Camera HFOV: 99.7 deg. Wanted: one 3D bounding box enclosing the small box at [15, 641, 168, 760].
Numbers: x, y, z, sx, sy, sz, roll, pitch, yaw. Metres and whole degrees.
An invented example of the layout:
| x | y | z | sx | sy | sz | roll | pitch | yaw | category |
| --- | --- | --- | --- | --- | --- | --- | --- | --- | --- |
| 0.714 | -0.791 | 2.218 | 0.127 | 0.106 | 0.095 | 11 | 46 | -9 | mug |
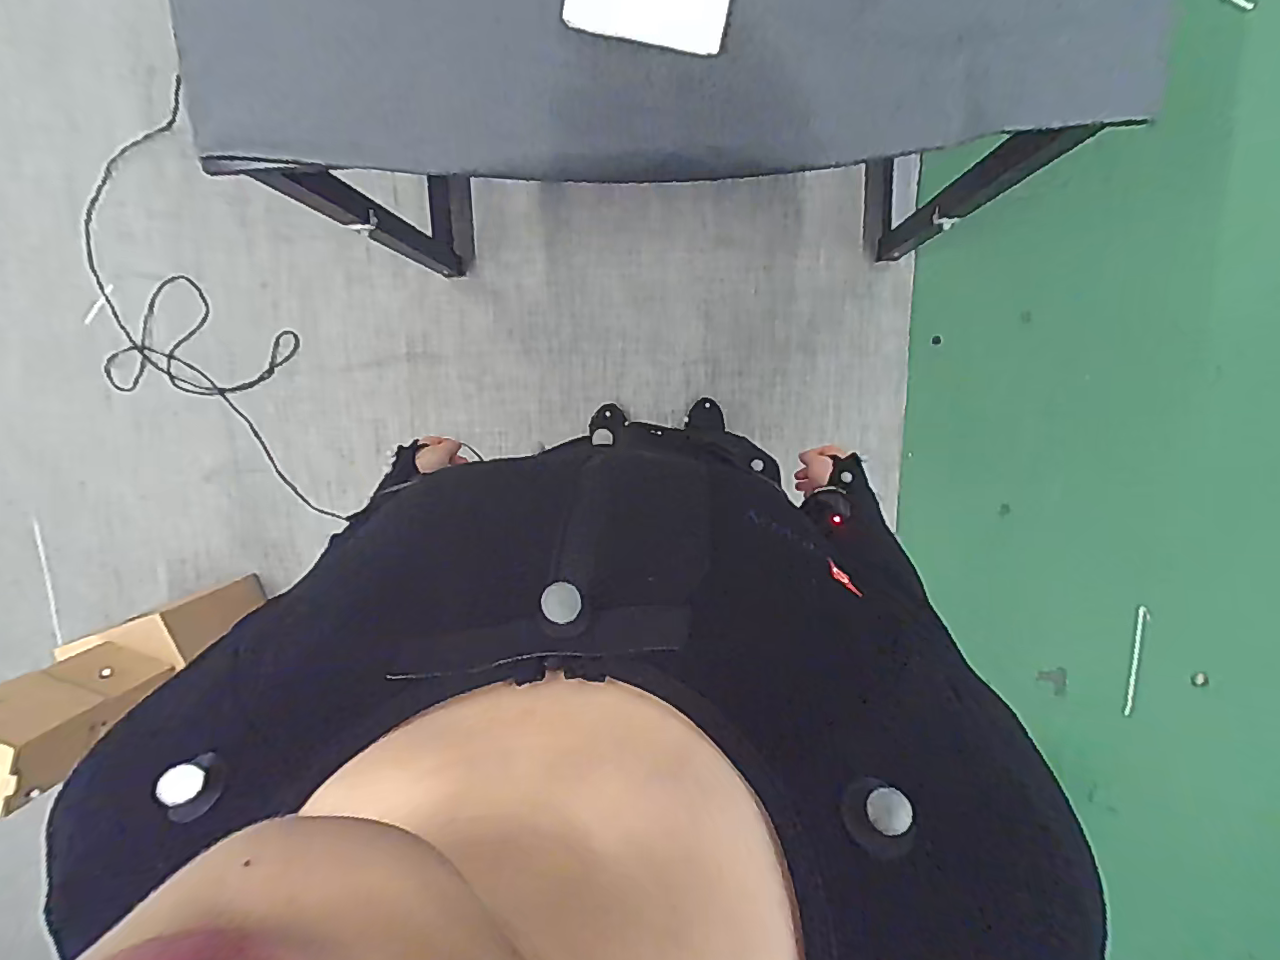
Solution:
| x | y | z | sx | sy | sz | roll | pitch | yaw | category |
| --- | --- | --- | --- | --- | --- | --- | --- | --- | --- |
| -1.253 | 0.499 | 1.248 | 0.179 | 0.176 | 0.168 | 21 | 99 | -3 | small box |
